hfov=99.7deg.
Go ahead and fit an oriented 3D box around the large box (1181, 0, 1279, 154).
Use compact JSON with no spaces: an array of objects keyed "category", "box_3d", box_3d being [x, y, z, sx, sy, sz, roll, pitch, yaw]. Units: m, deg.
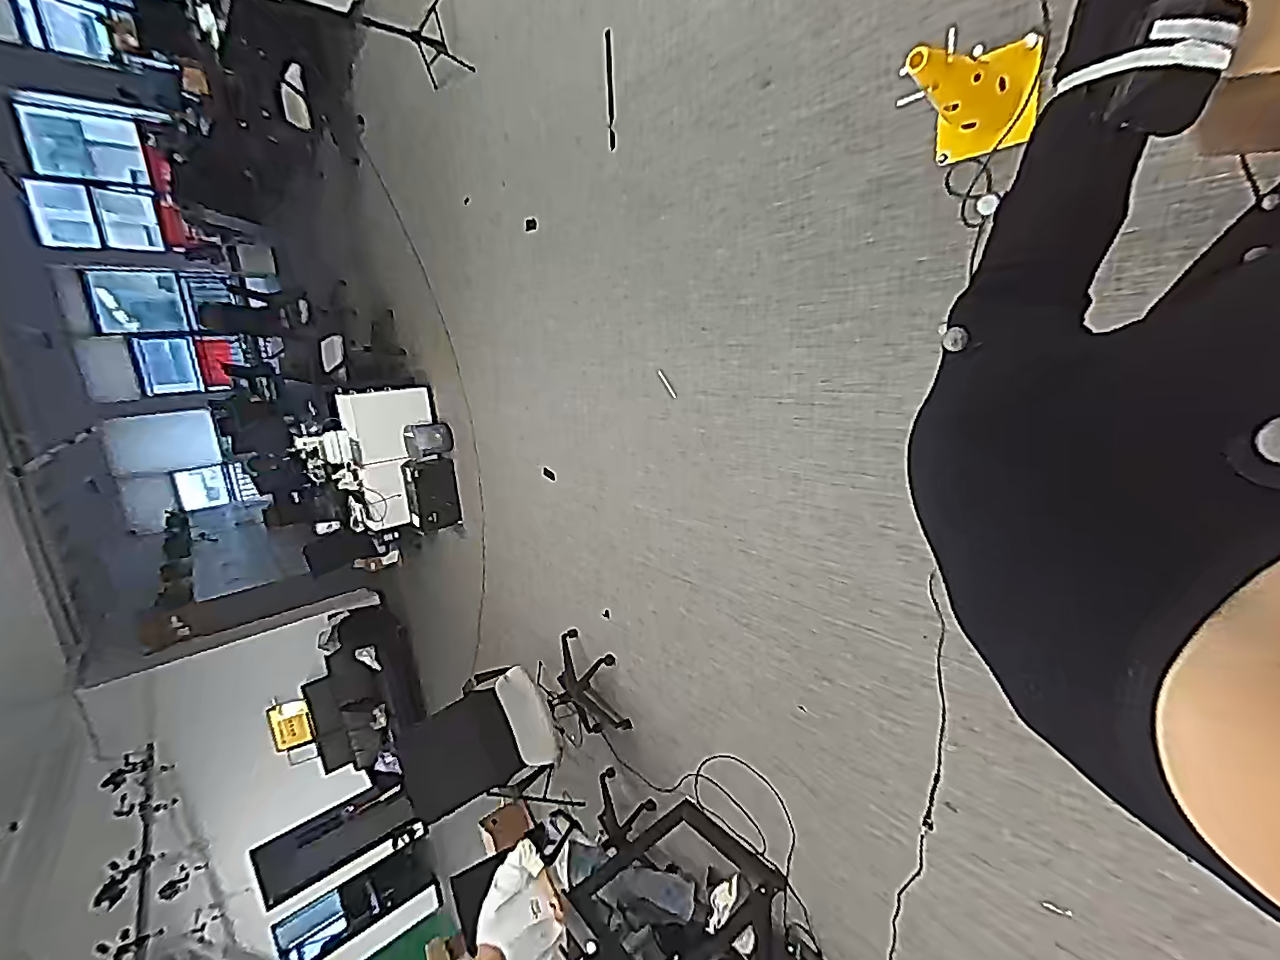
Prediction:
[{"category":"large box","box_3d":[0.596,-0.388,0.267,0.408,0.320,0.320,22,119,42]}]
